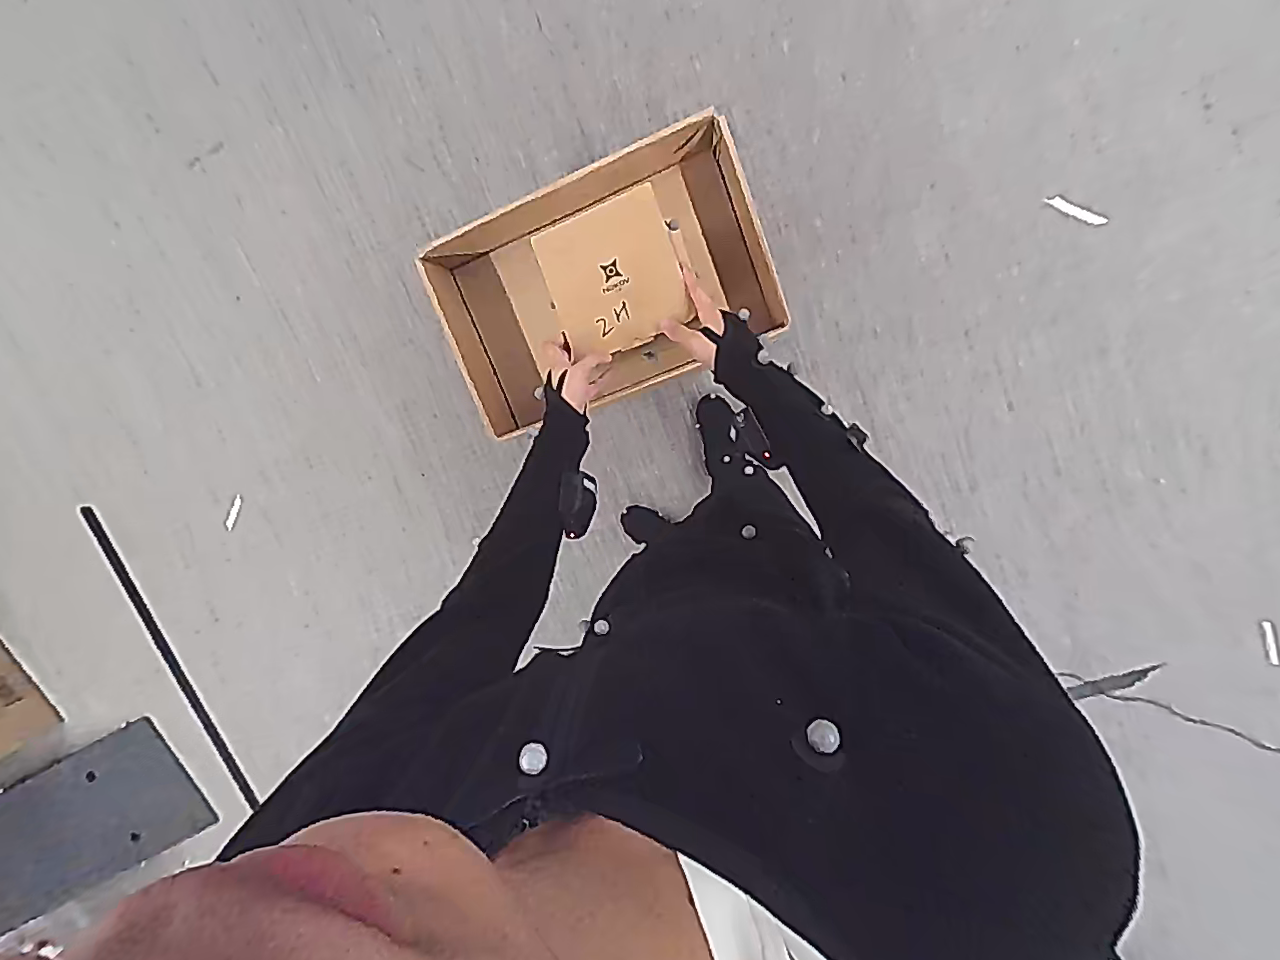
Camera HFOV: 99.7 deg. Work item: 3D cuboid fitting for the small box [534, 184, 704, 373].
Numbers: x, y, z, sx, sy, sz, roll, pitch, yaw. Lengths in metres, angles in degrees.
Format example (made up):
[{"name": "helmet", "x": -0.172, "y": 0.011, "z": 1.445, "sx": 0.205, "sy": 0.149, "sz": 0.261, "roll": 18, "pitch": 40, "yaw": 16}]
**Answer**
[{"name": "small box", "x": -0.018, "y": -0.257, "z": 0.739, "sx": 0.168, "sy": 0.176, "sz": 0.179, "roll": -19, "pitch": 95, "yaw": 12}]
